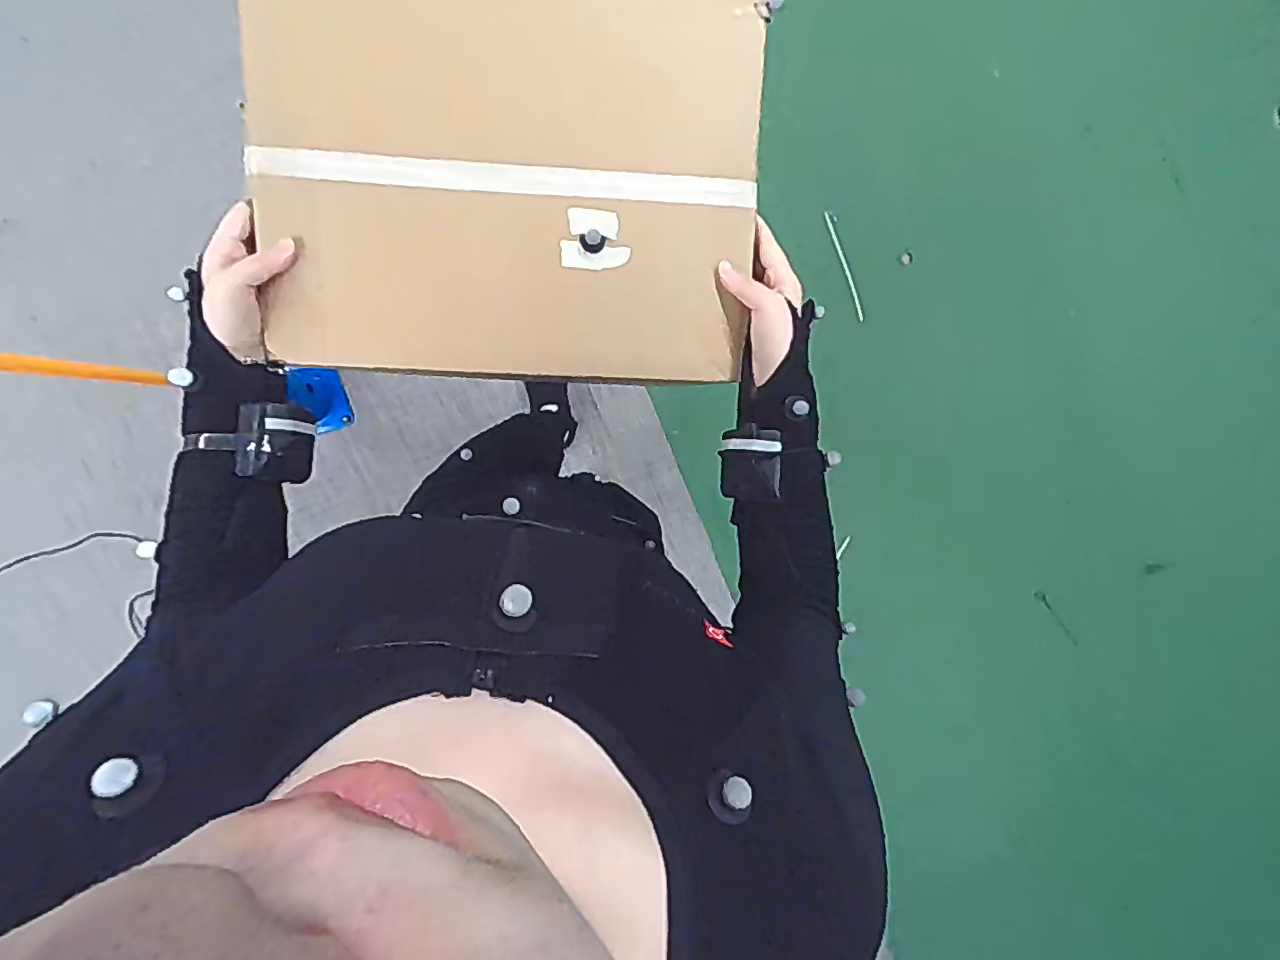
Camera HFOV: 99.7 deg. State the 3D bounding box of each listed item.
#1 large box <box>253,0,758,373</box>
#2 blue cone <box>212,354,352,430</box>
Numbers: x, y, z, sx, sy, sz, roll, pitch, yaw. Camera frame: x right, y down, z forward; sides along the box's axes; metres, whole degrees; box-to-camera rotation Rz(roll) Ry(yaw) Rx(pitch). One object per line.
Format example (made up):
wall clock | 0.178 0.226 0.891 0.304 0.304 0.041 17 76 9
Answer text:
large box | -0.118 -0.282 0.597 0.408 0.320 0.320 0 100 -7
blue cone | -0.846 -0.219 1.234 0.192 0.380 0.193 -15 96 -5
